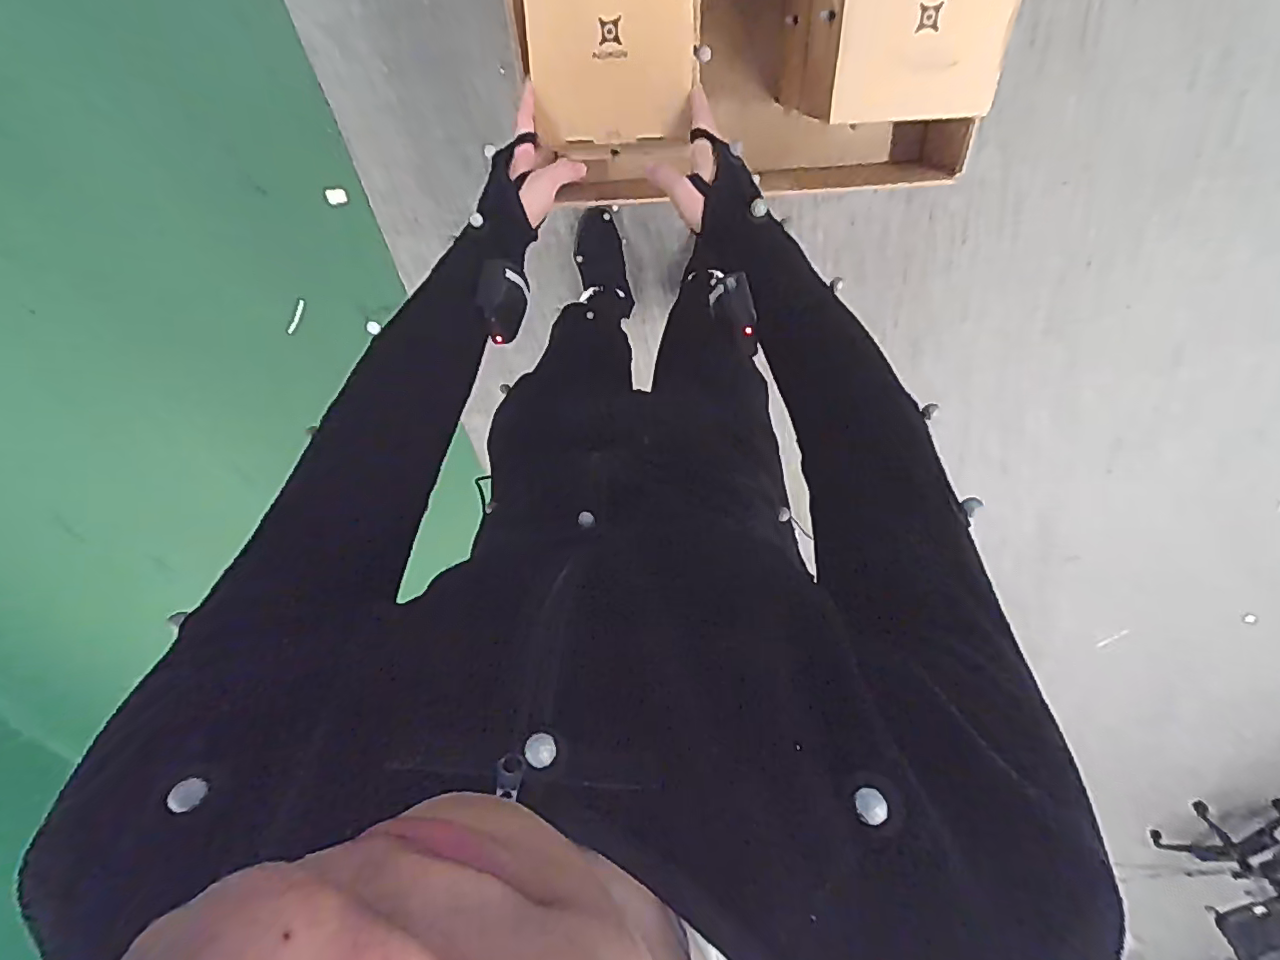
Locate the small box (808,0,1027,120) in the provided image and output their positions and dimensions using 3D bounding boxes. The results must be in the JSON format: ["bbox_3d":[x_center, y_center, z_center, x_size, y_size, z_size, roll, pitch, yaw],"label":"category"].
[{"bbox_3d":[0.286,-0.496,0.578,0.168,0.176,0.179,0,127,4],"label":"small box"}]

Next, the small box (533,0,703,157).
[{"bbox_3d":[-0.016,-0.467,0.597,0.168,0.176,0.179,1,117,5],"label":"small box"}]
